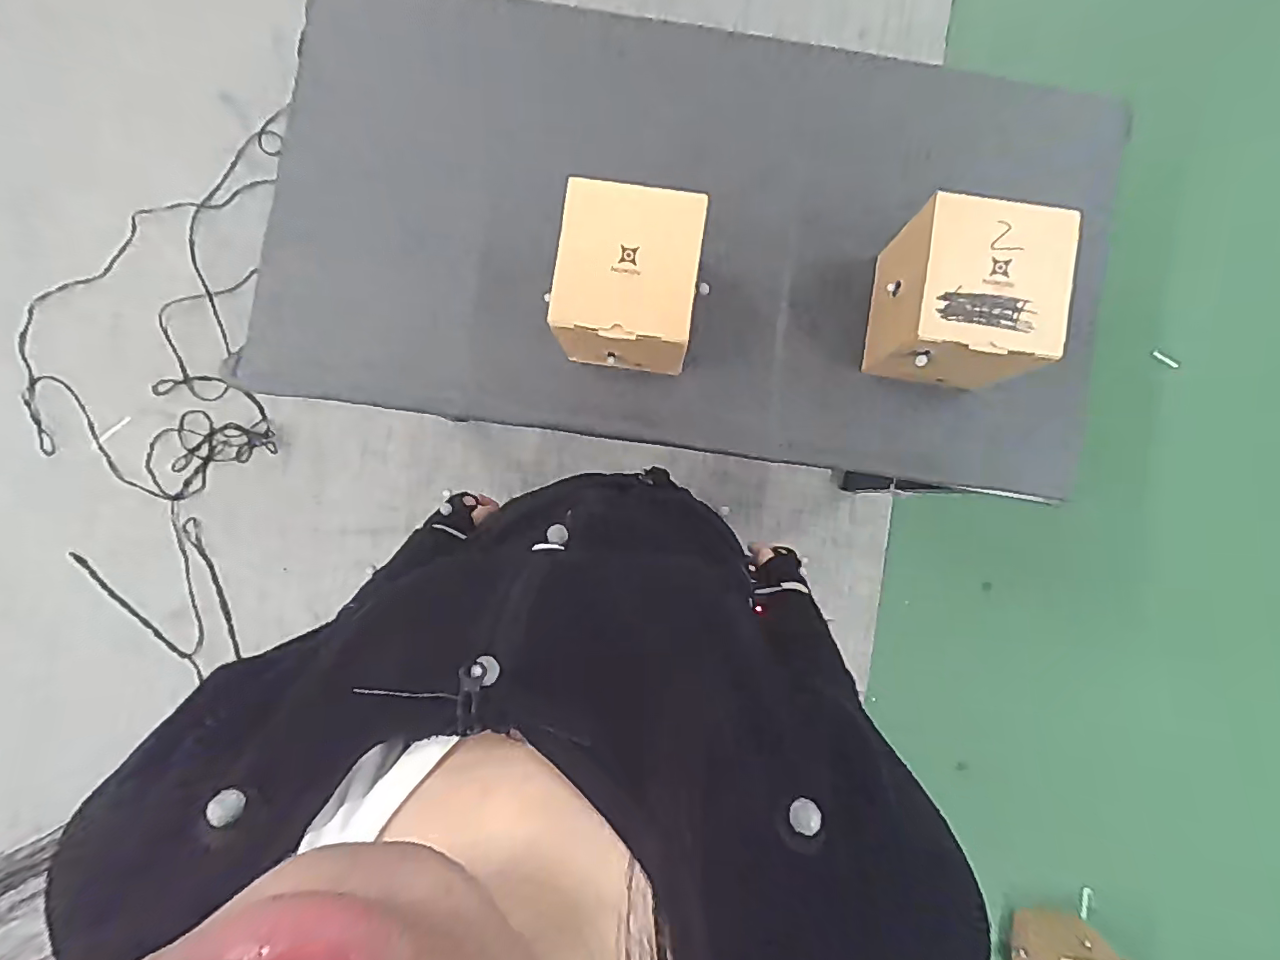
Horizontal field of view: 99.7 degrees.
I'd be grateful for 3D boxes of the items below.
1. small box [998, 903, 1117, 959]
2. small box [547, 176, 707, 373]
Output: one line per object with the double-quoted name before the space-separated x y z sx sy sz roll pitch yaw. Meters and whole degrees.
"small box" 1.070 1.239 1.395 0.179 0.176 0.168 6 89 0
"small box" -0.016 -0.252 0.702 0.168 0.176 0.179 8 89 0
